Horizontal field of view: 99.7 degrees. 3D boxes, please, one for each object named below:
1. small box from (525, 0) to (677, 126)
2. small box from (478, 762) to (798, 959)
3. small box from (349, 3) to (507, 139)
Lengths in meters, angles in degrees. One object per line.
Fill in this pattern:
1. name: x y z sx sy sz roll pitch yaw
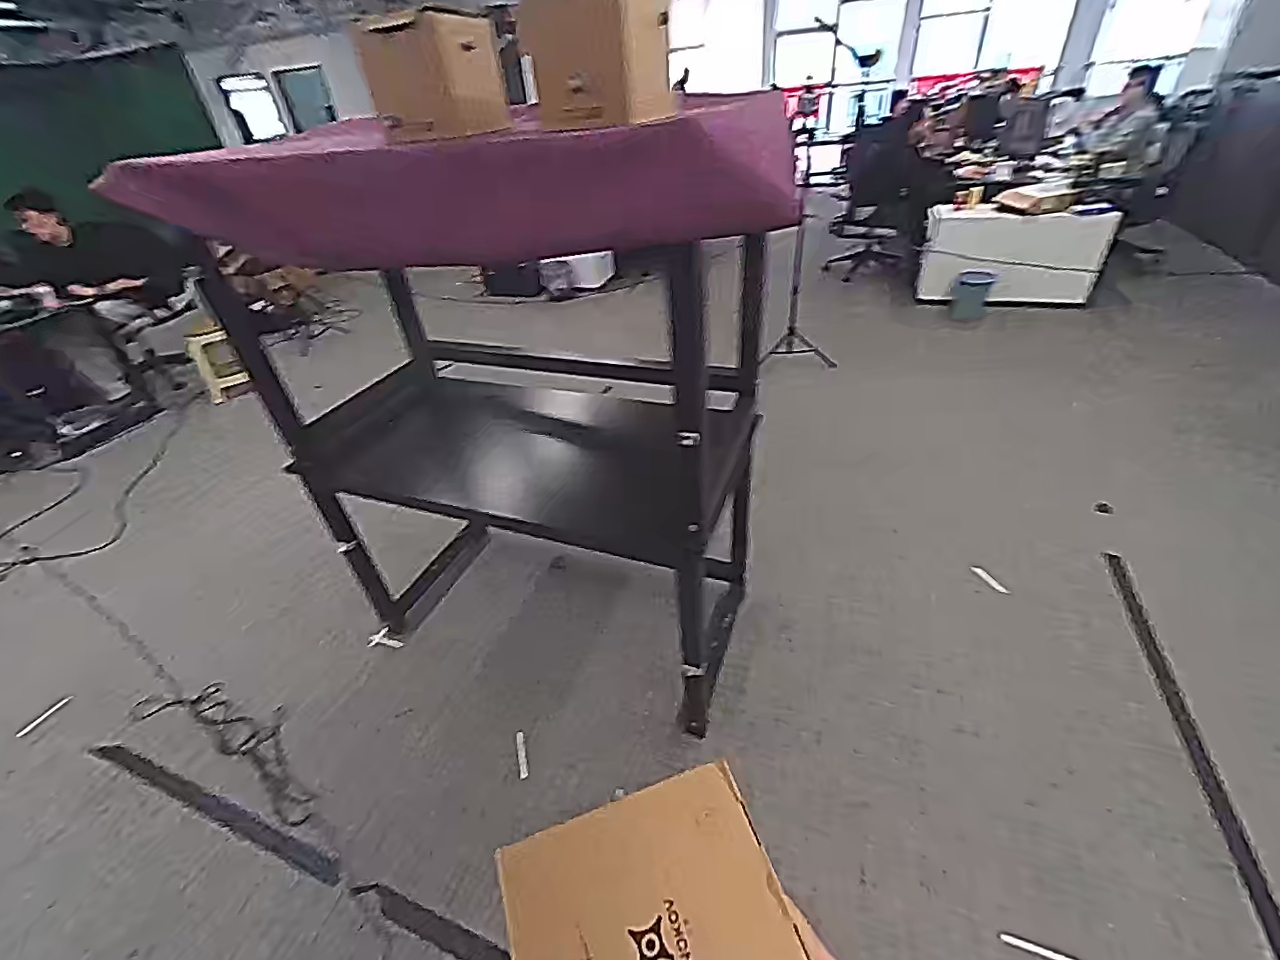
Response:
1. small box: -0.050 -0.639 0.811 0.168 0.176 0.179 11 39 23
2. small box: 0.000 0.335 0.387 0.179 0.176 0.168 -16 50 -13
3. small box: -0.351 -0.698 0.937 0.168 0.176 0.179 6 37 16
